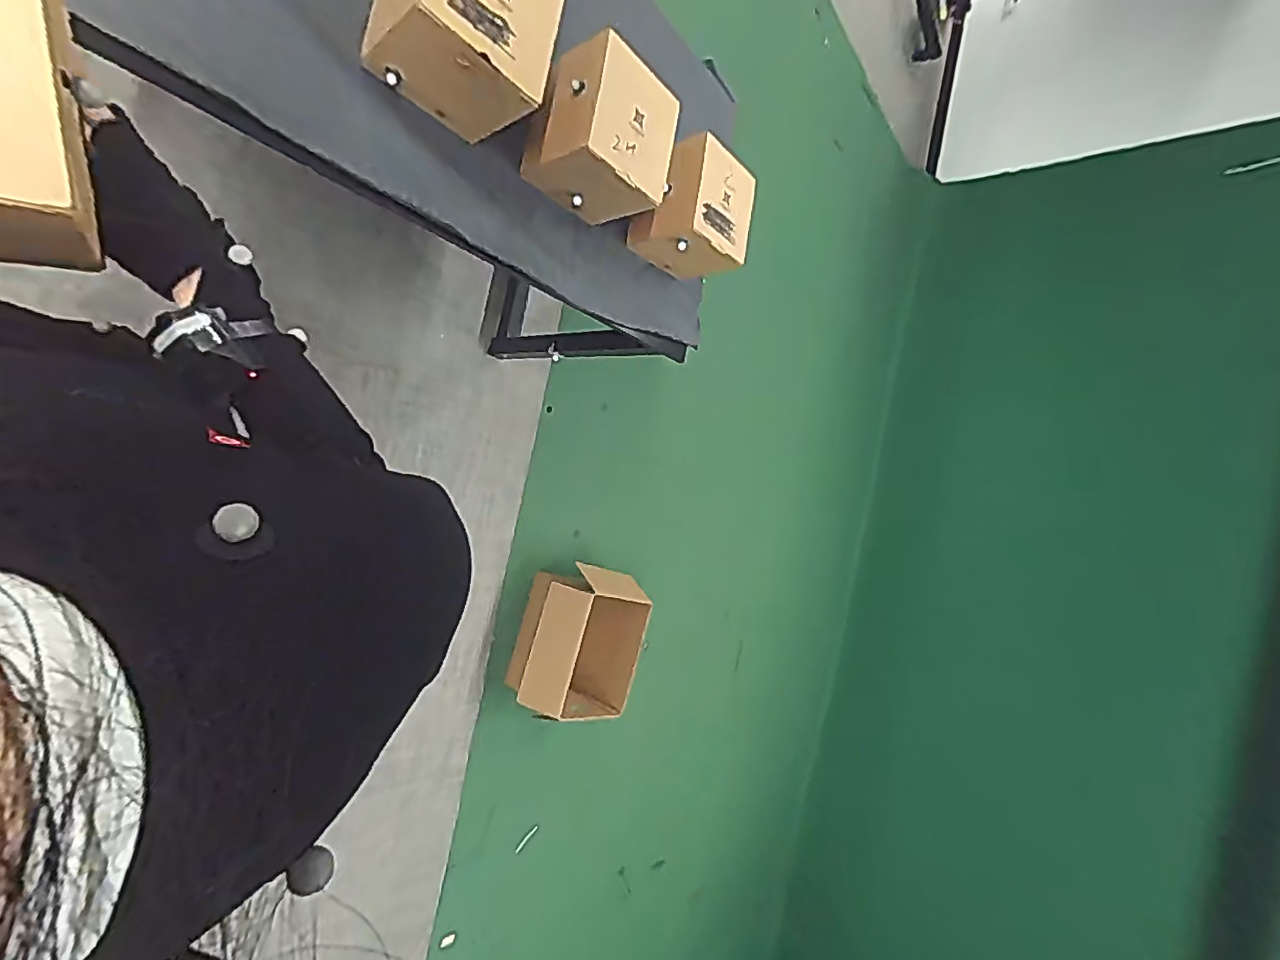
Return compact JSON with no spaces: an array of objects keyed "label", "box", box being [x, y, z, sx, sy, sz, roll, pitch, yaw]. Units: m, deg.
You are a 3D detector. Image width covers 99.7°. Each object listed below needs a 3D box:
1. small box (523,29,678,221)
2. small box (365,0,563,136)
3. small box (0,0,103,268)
[{"label":"small box","box":[-0.066,-0.549,0.868,0.168,0.176,0.179,12,89,-48]},{"label":"small box","box":[-0.225,-0.583,0.688,0.168,0.176,0.179,14,86,-48]},{"label":"small box","box":[-0.417,-0.228,0.289,0.168,0.176,0.179,-10,103,-41]}]
